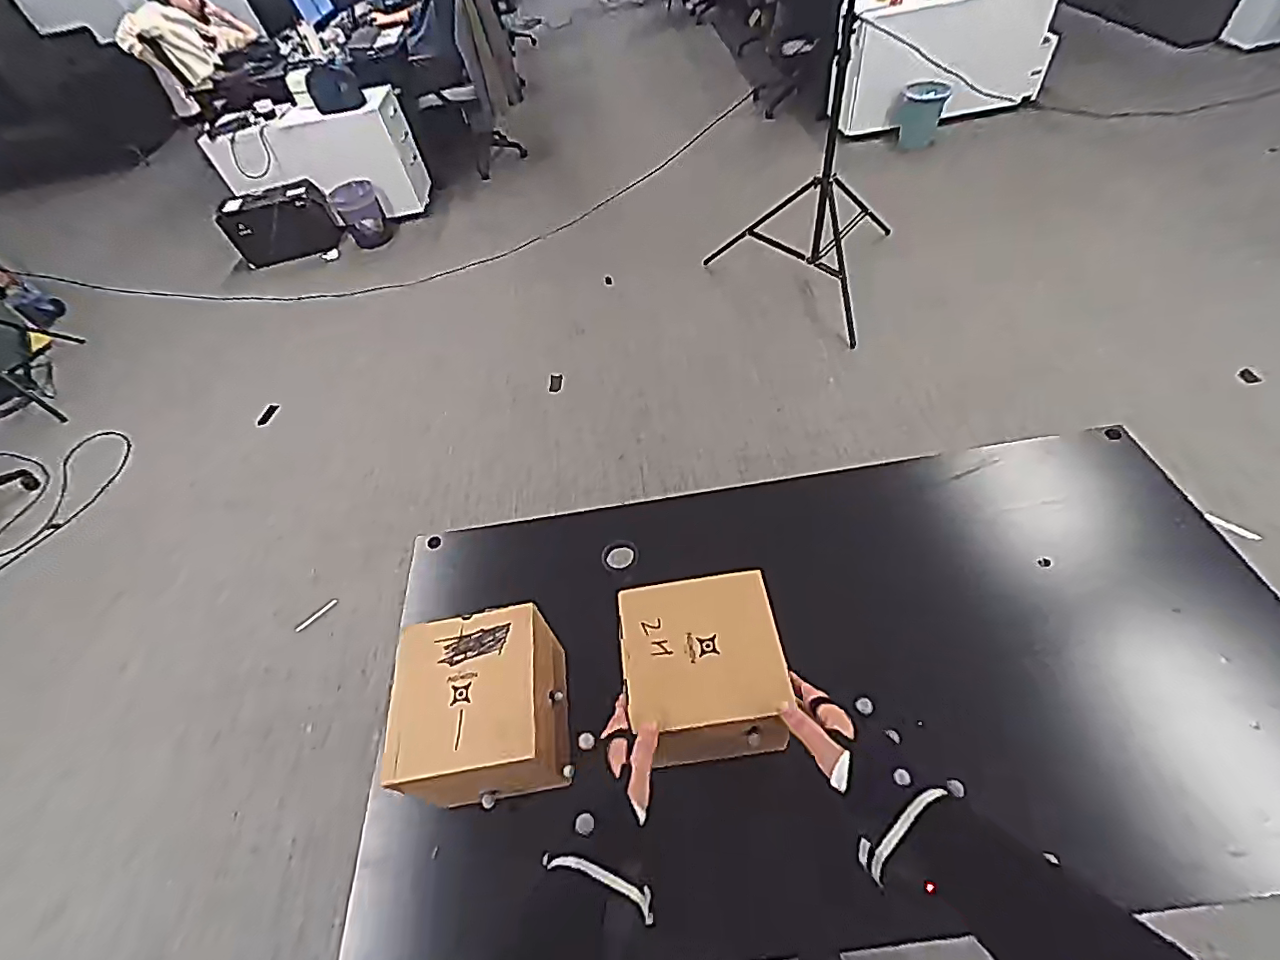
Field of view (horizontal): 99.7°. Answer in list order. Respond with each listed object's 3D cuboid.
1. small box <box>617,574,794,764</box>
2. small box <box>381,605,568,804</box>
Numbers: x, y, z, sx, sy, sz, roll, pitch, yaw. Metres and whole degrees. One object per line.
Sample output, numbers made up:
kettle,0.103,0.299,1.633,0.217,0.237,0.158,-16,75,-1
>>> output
small box,0.074,0.236,0.665,0.179,0.176,0.168,-9,51,2
small box,-0.190,0.282,0.672,0.168,0.176,0.179,-11,53,1
